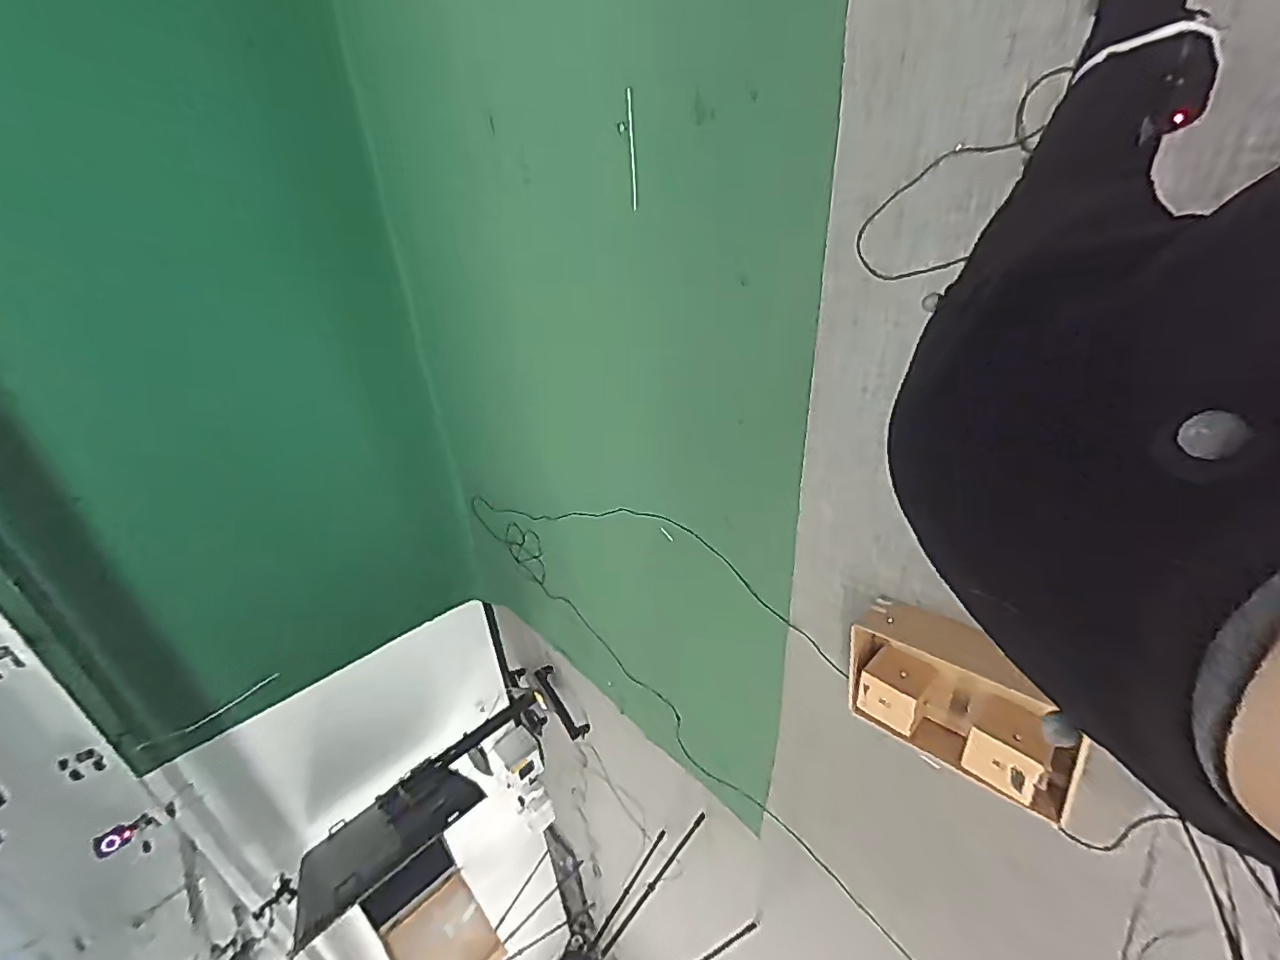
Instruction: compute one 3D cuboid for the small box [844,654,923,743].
[{"bbox_3d":[0.792,0.699,1.755,0.179,0.176,0.168,23,126,41],"label":"small box"}]
